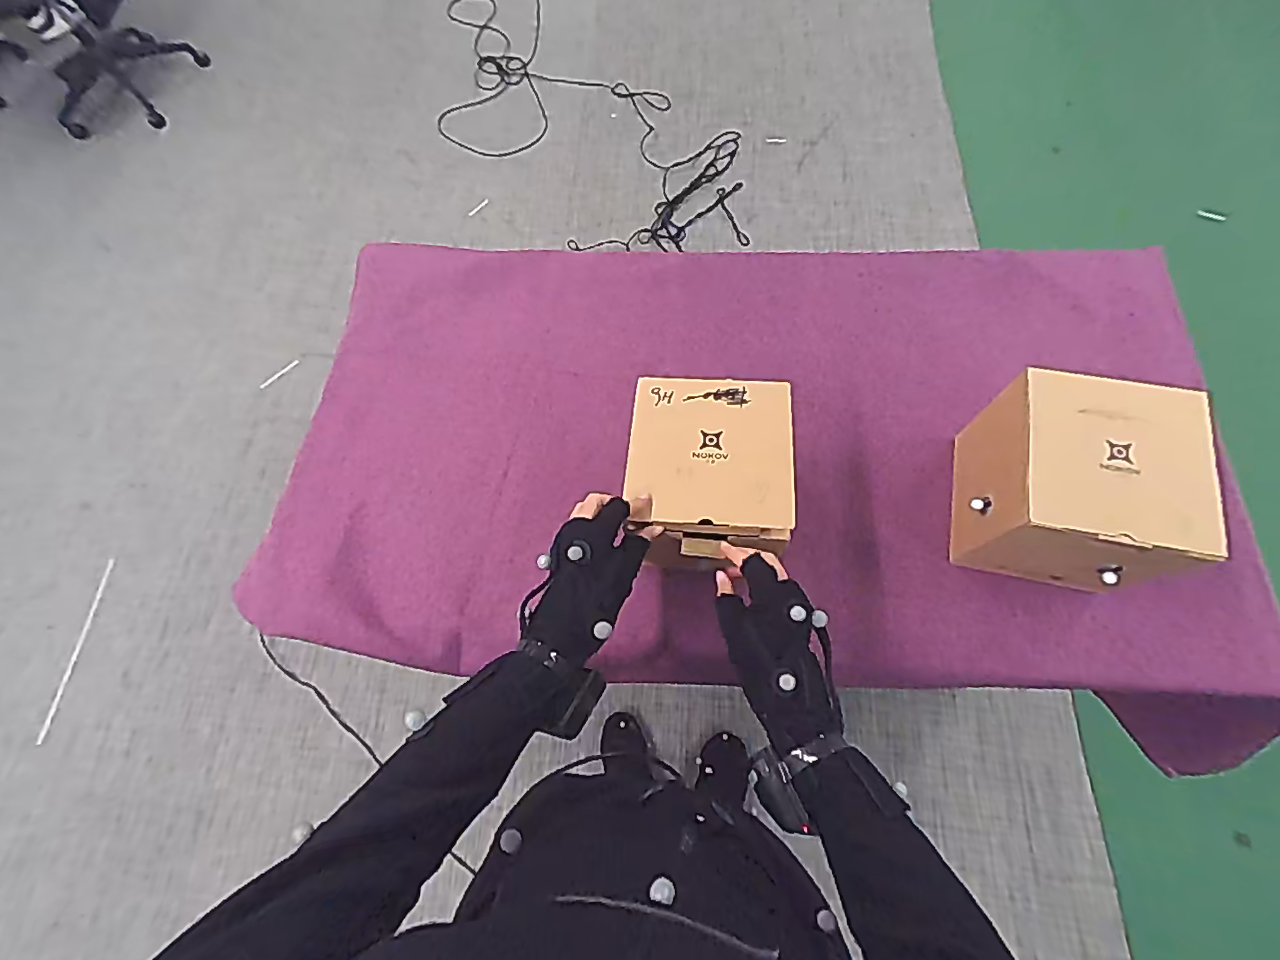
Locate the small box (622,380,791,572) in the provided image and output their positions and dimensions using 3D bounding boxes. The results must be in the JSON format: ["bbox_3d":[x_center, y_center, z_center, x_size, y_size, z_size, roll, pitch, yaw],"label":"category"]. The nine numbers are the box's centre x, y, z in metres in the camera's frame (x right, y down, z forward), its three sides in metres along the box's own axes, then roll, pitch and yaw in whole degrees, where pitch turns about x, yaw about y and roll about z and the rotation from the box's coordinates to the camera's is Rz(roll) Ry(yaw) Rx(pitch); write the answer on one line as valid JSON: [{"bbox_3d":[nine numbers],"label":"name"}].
[{"bbox_3d":[0.079,0.003,0.628,0.168,0.176,0.179,3,69,6],"label":"small box"}]

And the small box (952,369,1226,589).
[{"bbox_3d":[0.463,0.008,0.590,0.168,0.176,0.179,12,69,10],"label":"small box"}]
